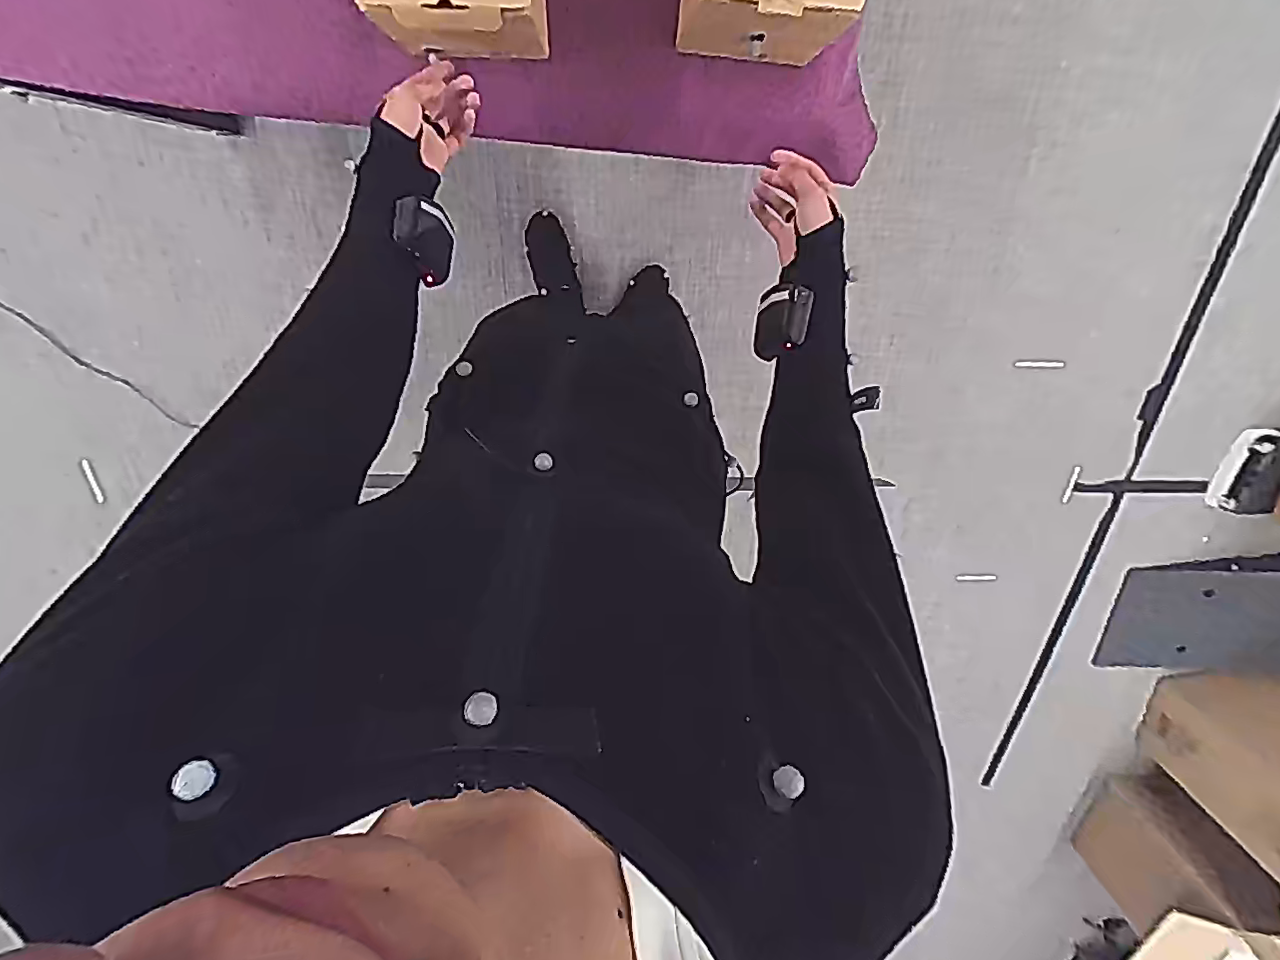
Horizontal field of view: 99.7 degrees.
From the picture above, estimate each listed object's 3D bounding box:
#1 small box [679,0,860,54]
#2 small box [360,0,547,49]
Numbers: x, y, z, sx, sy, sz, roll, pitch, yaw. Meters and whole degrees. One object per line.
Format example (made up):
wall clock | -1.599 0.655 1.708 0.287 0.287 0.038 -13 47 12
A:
small box | 0.136 -0.572 0.557 0.168 0.176 0.179 3 114 -5
small box | -0.187 -0.560 0.541 0.168 0.176 0.179 -1 115 -4
